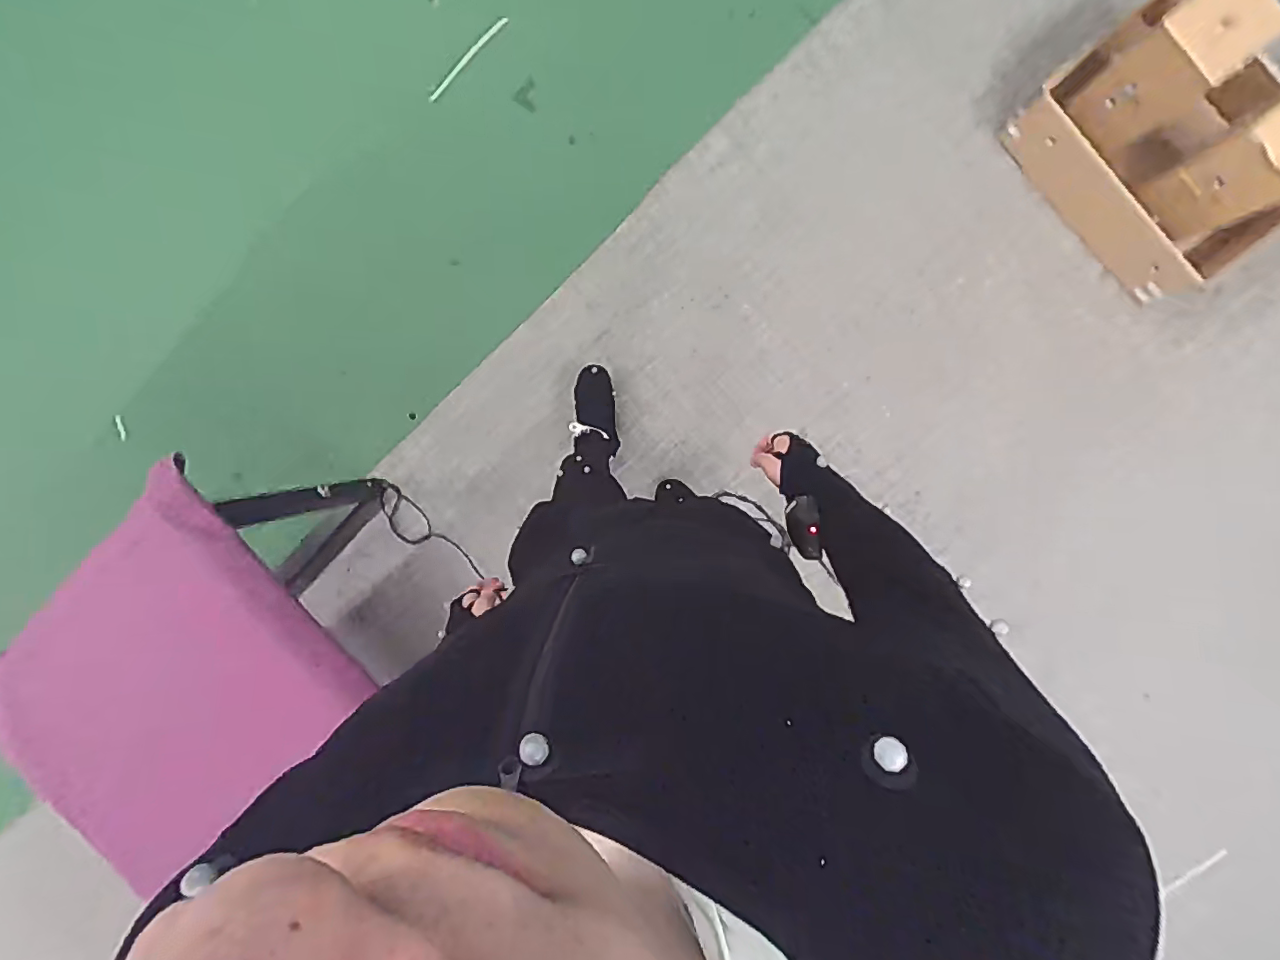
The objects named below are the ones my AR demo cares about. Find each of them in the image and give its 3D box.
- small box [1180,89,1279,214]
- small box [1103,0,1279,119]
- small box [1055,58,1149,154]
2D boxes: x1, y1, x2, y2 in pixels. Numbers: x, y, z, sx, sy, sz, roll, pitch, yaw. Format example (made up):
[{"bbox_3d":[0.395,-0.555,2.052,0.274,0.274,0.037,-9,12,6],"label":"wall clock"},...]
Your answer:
[{"bbox_3d":[1.326,-0.706,1.139,0.179,0.176,0.168,-39,91,8],"label":"small box"},{"bbox_3d":[1.147,-0.918,1.132,0.179,0.176,0.168,-39,92,8],"label":"small box"},{"bbox_3d":[1.162,-0.936,1.293,0.179,0.176,0.168,-39,91,7],"label":"small box"}]
